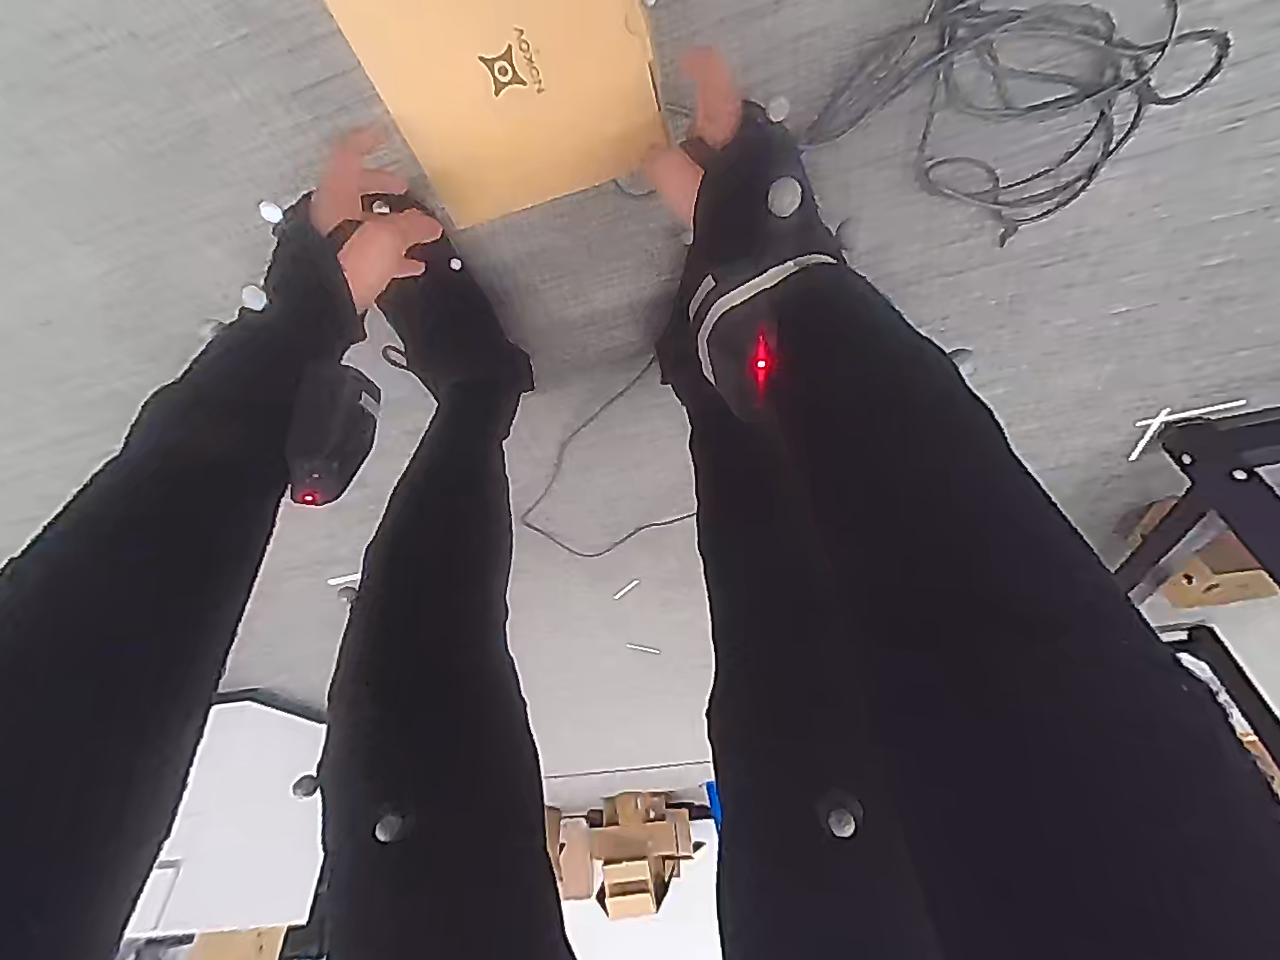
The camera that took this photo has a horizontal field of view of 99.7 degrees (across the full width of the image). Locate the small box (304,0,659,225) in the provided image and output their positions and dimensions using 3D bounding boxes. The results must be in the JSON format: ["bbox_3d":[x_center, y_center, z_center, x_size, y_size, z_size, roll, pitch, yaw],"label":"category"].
[{"bbox_3d":[-0.093,-0.317,0.376,0.179,0.176,0.168,-13,142,12],"label":"small box"}]
